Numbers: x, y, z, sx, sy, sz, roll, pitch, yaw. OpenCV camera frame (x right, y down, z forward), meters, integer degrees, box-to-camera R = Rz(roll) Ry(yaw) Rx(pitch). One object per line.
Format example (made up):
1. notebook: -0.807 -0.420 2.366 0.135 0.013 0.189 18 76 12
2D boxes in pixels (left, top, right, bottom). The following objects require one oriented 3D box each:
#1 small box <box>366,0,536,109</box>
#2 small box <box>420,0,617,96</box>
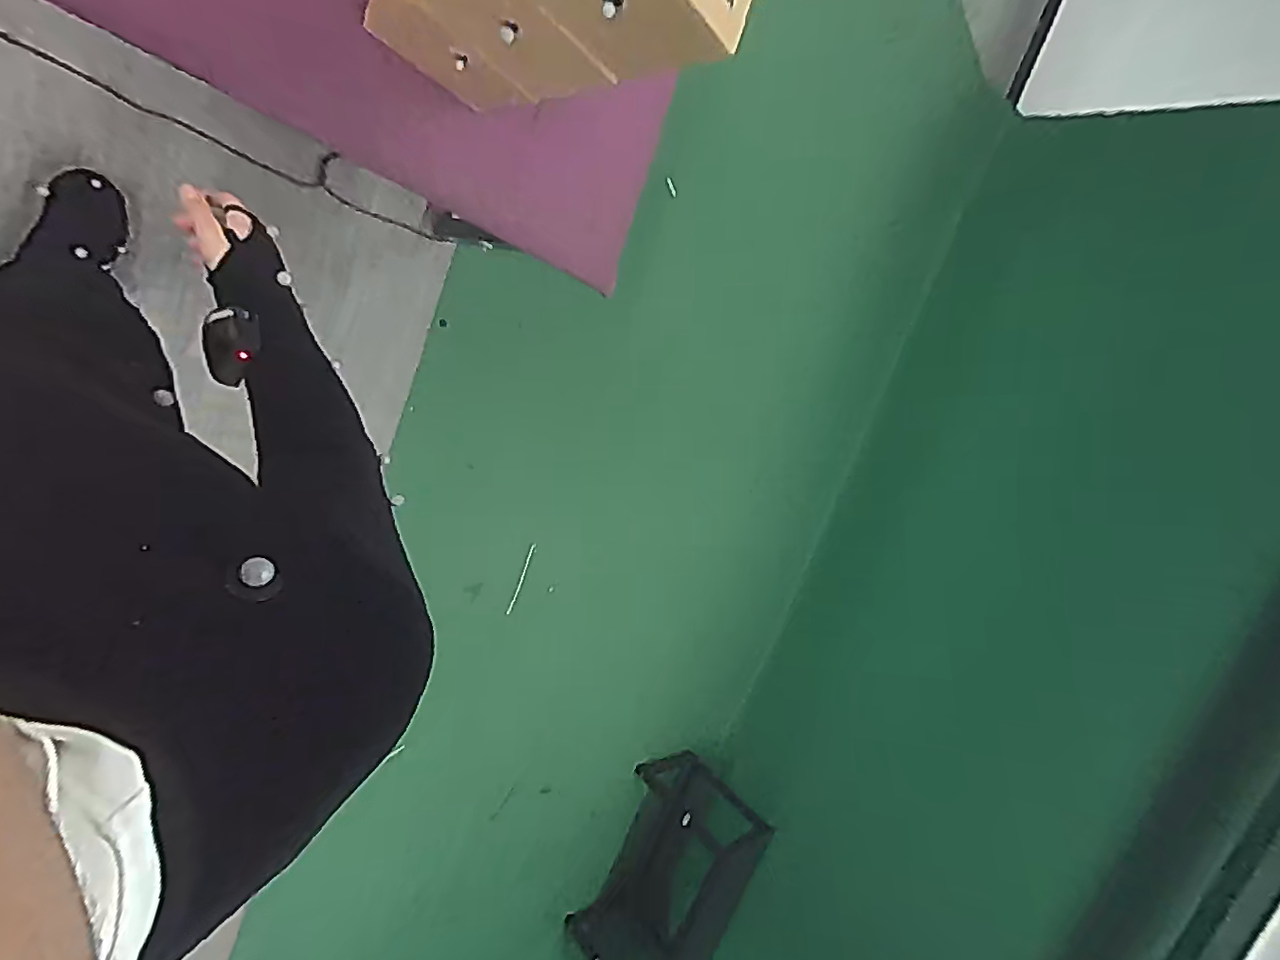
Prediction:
1. small box: -0.221 -0.611 0.693 0.179 0.176 0.168 14 101 -48
2. small box: -0.112 -0.553 0.587 0.179 0.176 0.168 12 103 -47
